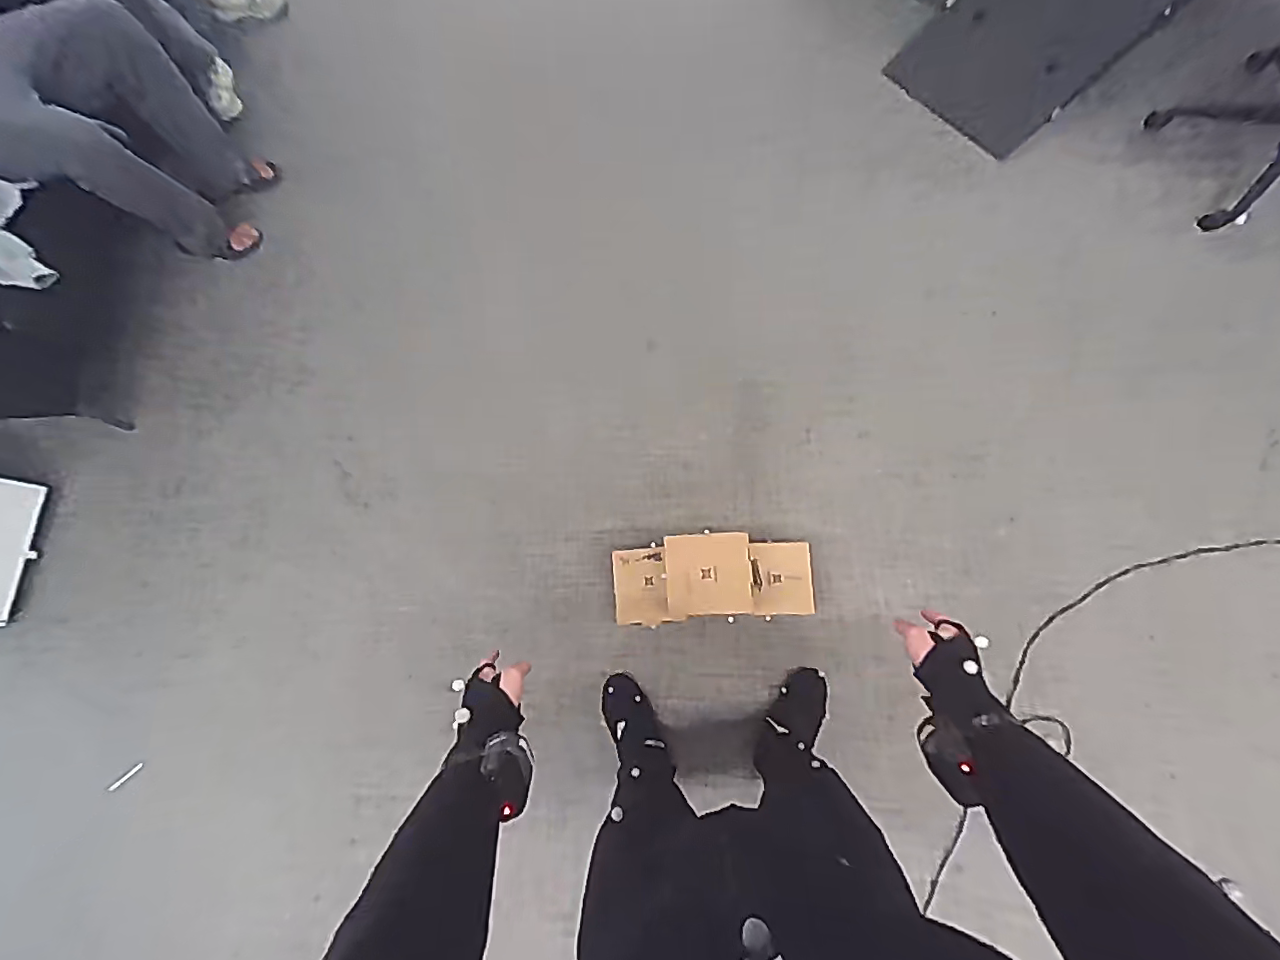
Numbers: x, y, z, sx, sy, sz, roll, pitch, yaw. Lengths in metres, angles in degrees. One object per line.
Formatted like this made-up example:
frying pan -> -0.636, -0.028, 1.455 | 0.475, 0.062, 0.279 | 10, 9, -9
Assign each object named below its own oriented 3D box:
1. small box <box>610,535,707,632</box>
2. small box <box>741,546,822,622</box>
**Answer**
small box -> 0.053, 0.264, 1.349 | 0.179, 0.176, 0.168 | -35, 72, -1
small box -> 0.339, 0.257, 1.321 | 0.179, 0.176, 0.168 | 1, 77, 8
